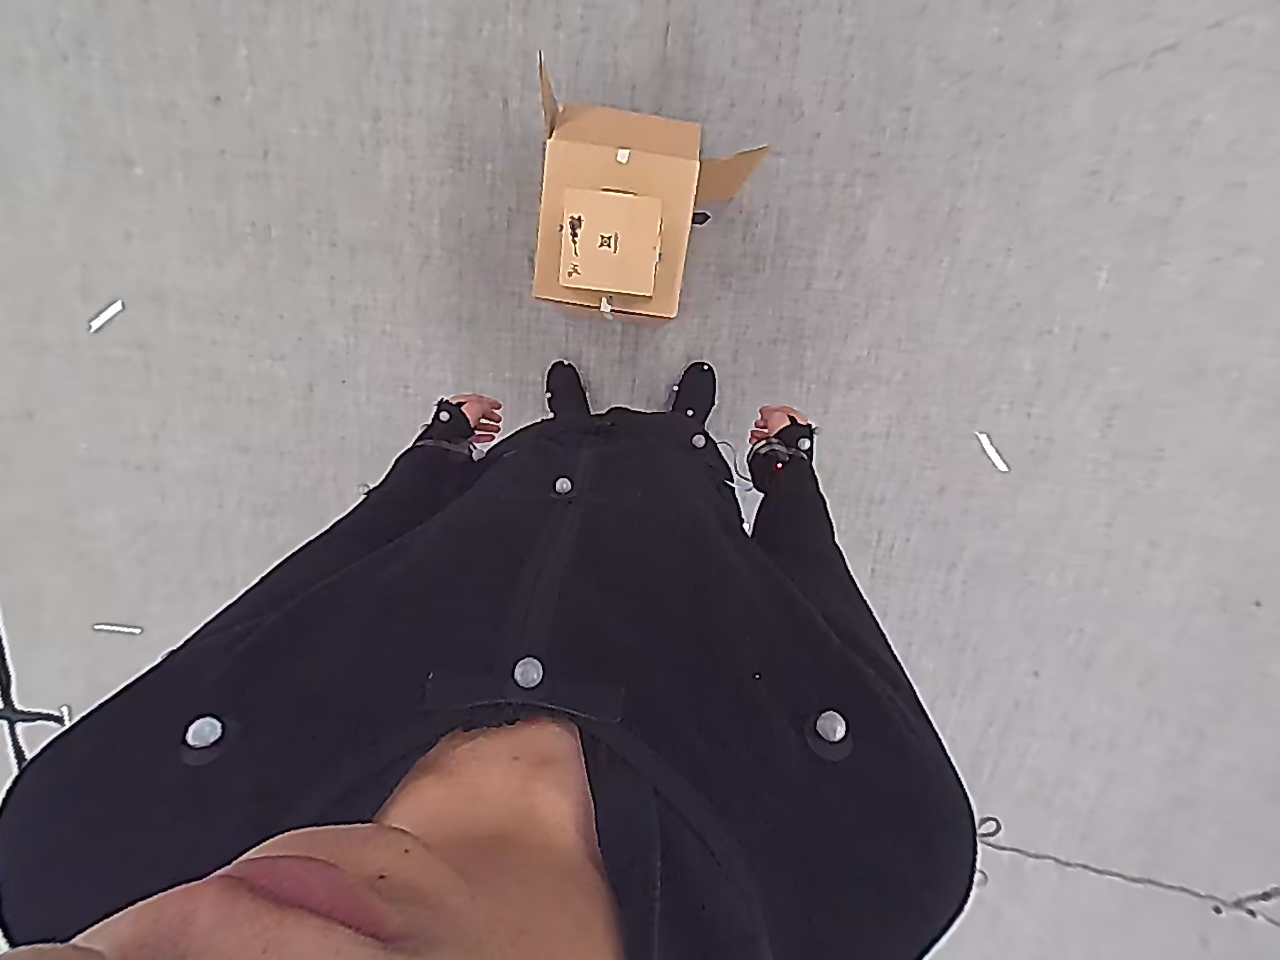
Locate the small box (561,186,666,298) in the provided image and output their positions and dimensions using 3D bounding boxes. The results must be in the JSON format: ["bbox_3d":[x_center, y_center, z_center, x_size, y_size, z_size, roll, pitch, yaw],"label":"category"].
[{"bbox_3d":[-0.049,-0.452,1.051,0.179,0.176,0.168,7,106,-1],"label":"small box"}]
